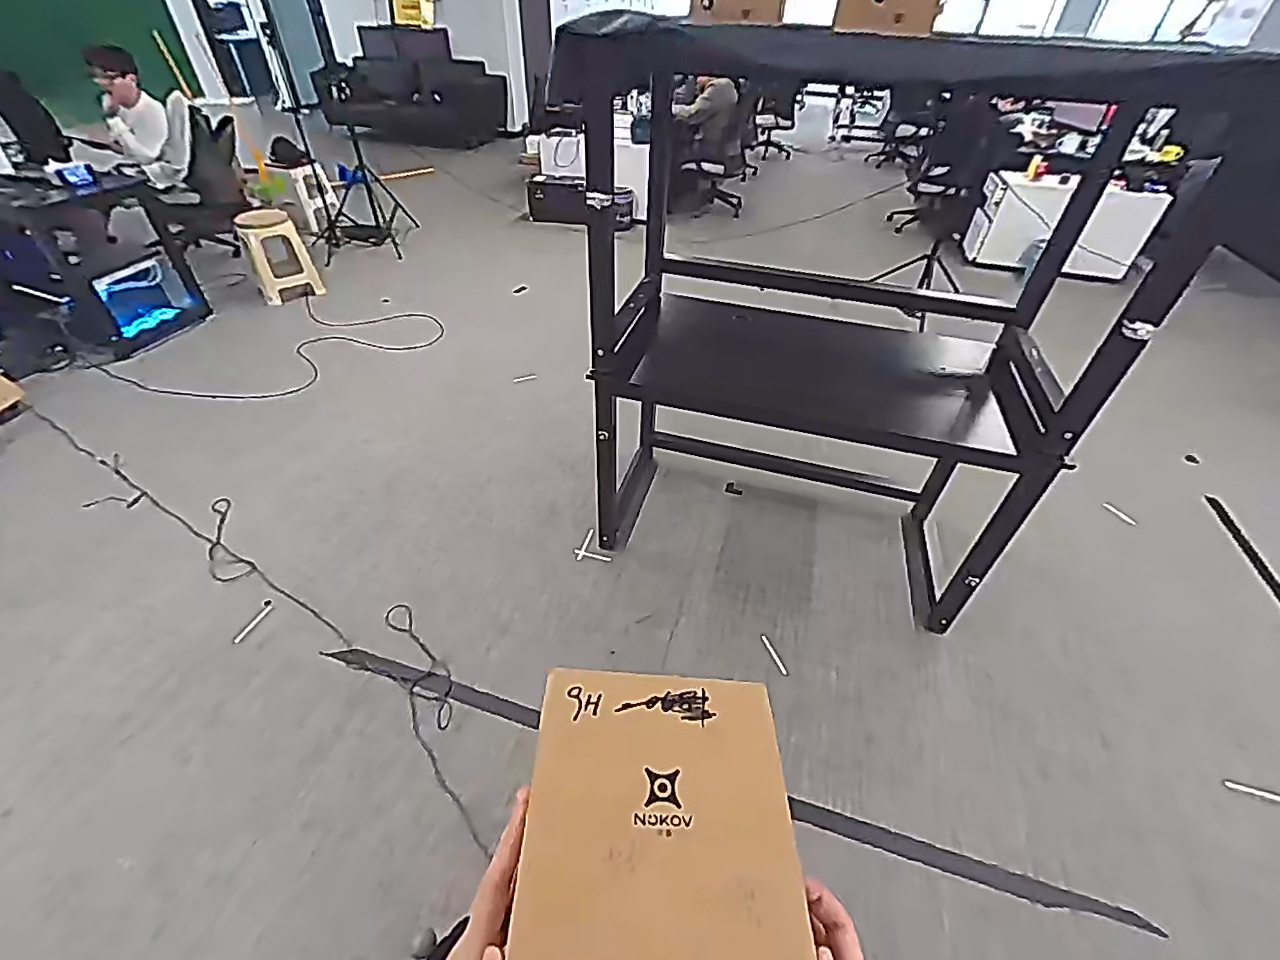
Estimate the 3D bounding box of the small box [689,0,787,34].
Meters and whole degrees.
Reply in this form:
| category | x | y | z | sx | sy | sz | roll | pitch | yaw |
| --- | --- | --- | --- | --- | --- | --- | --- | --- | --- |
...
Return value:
| category | x | y | z | sx | sy | sz | roll | pitch | yaw |
| --- | --- | --- | --- | --- | --- | --- | --- | --- | --- |
| small box | 0.187 | -0.919 | 0.979 | 0.168 | 0.176 | 0.179 | 11 | 40 | 8 |

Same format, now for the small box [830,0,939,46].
| category | x | y | z | sx | sy | sz | roll | pitch | yaw |
| --- | --- | --- | --- | --- | --- | --- | --- | --- | --- |
| small box | 0.434 | -0.870 | 0.939 | 0.168 | 0.176 | 0.179 | 12 | 41 | 11 |

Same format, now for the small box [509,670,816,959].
| category | x | y | z | sx | sy | sz | roll | pitch | yaw |
| --- | --- | --- | --- | --- | --- | --- | --- | --- | --- |
| small box | 0.006 | 0.263 | 0.389 | 0.168 | 0.176 | 0.179 | 6 | 41 | -5 |
